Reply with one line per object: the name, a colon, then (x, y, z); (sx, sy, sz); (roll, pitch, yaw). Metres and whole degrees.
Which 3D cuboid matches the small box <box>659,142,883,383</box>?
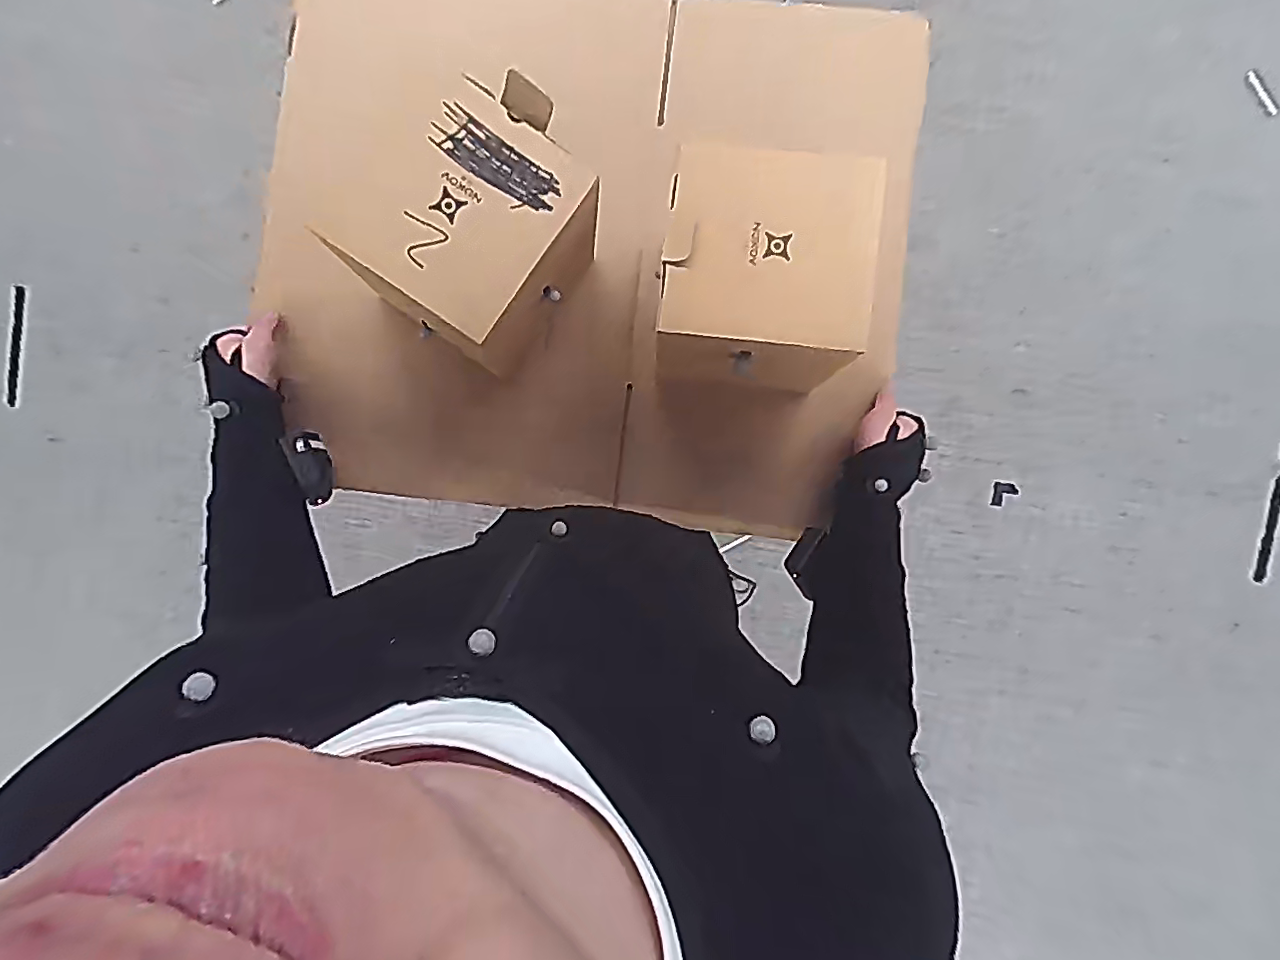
small box: (0.115, -0.199, 0.541); (0.179, 0.176, 0.168); (7, 89, 3)
